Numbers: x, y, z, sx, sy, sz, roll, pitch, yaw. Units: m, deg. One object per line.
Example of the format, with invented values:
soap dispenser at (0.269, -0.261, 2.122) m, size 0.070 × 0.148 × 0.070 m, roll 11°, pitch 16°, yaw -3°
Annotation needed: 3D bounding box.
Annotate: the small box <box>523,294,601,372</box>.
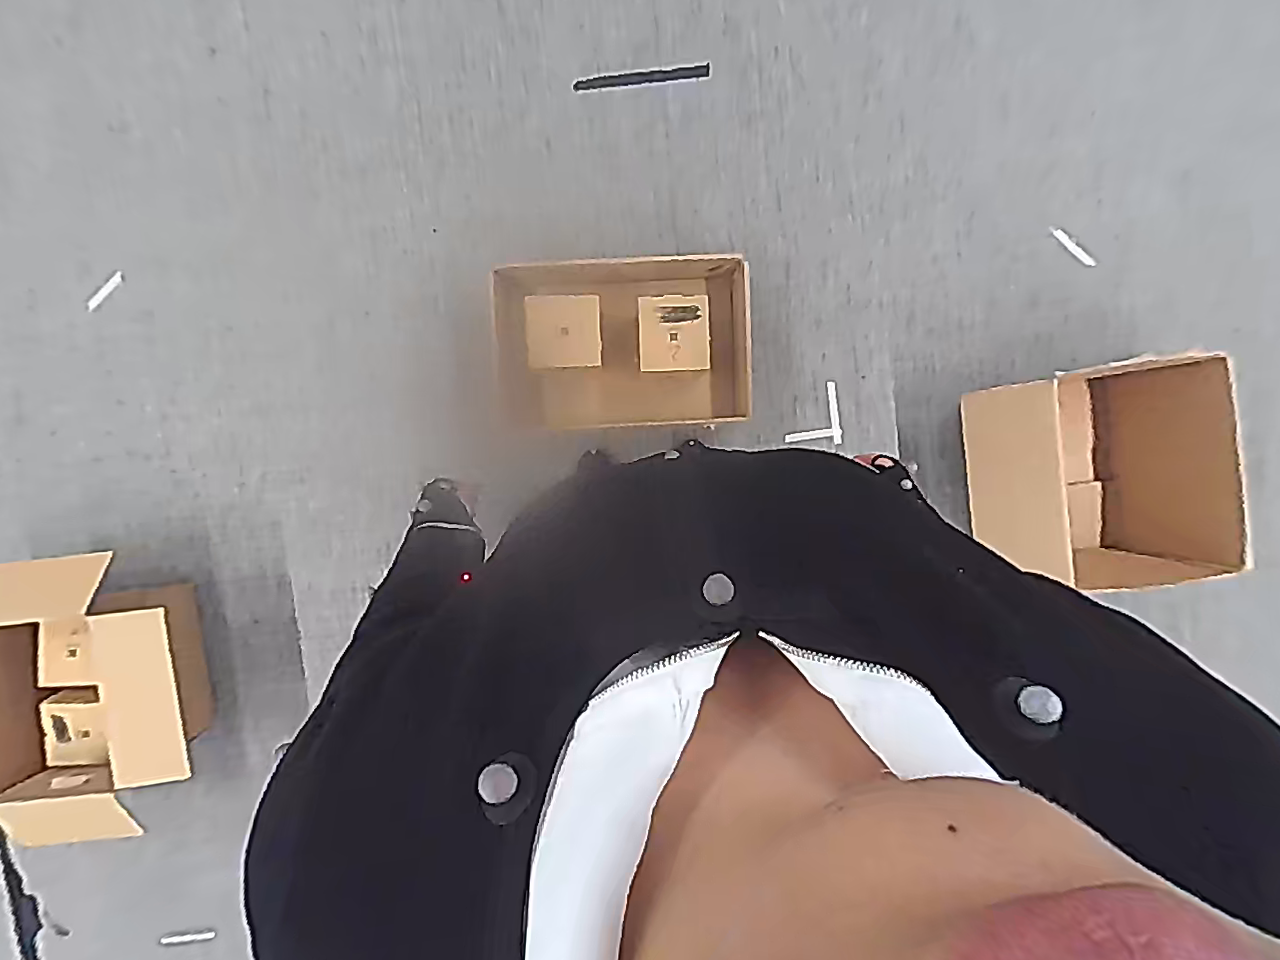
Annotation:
small box at (-0.188, -0.360, 1.347) m, size 0.179 × 0.176 × 0.168 m, roll -2°, pitch 96°, yaw -3°
